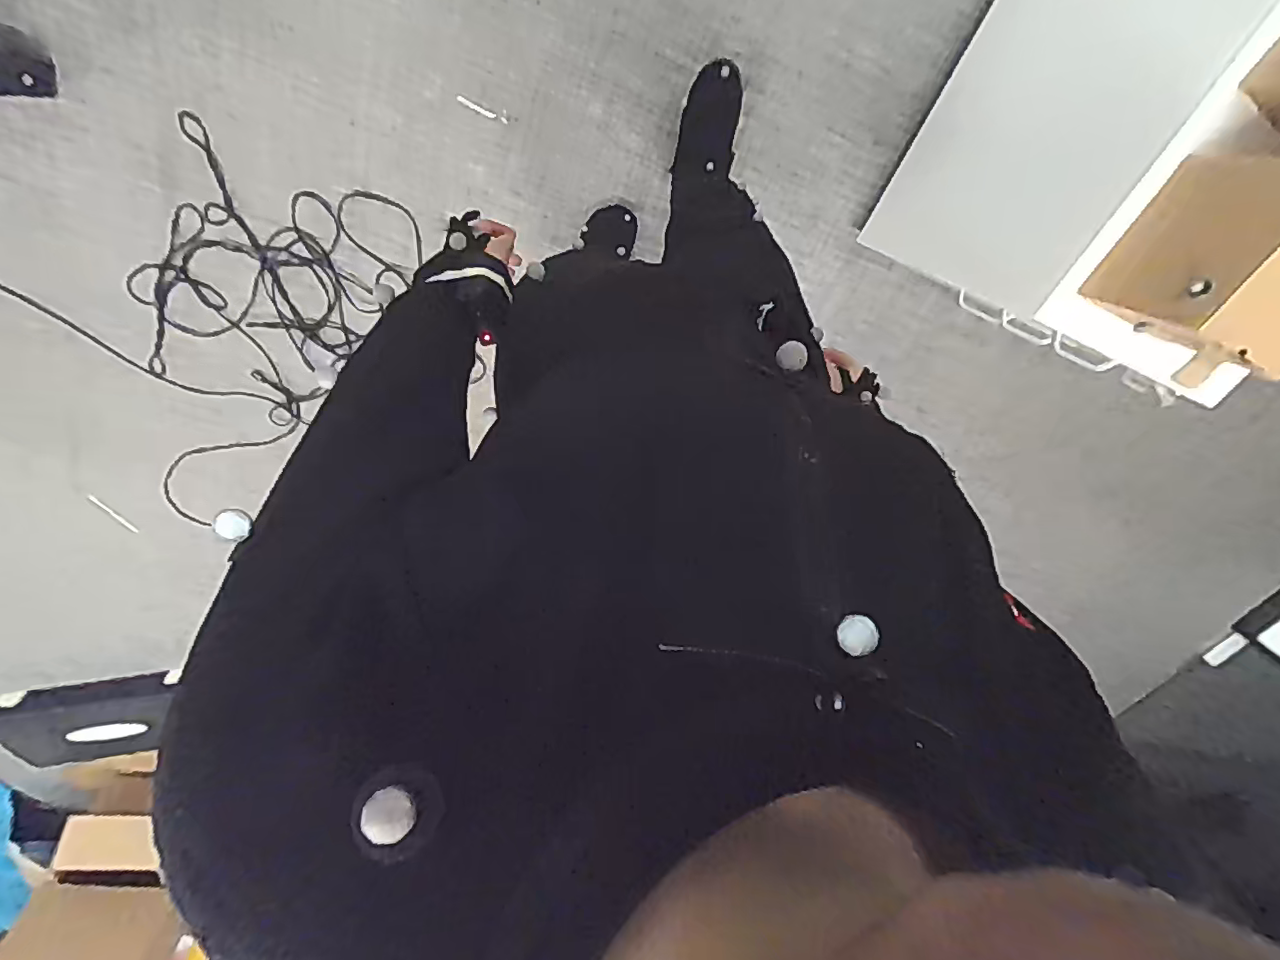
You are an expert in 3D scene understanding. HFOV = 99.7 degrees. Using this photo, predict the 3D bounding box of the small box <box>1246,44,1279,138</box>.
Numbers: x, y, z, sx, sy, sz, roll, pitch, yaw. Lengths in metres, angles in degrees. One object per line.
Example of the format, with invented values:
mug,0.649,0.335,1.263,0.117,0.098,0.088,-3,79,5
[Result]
small box,0.776,-0.420,0.523,0.179,0.176,0.168,19,120,-20
